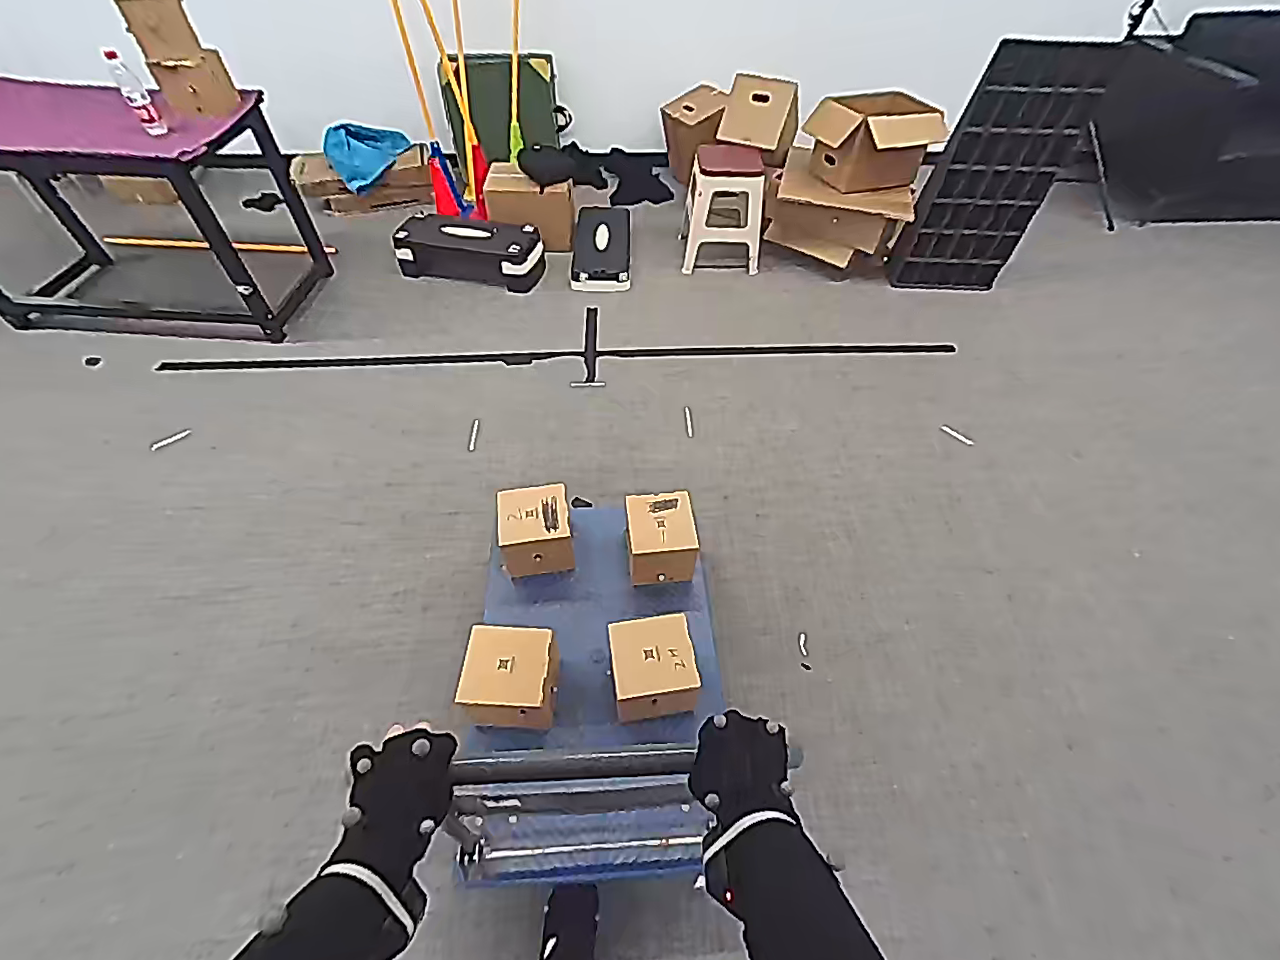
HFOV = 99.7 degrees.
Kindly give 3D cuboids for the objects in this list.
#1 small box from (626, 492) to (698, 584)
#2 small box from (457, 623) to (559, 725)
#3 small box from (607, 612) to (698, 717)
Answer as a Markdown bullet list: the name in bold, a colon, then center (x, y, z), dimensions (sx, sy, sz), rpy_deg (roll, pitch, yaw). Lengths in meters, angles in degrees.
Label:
- **small box**: center (0.051, 0.153, 1.421), dimensions (0.168, 0.176, 0.179), rpy_deg (-4, 53, -5)
- **small box**: center (-0.282, 0.432, 1.195), dimensions (0.179, 0.176, 0.168), rpy_deg (3, 51, 0)
- **small box**: center (0.025, 0.418, 1.211), dimensions (0.179, 0.176, 0.168), rpy_deg (-6, 52, -6)
